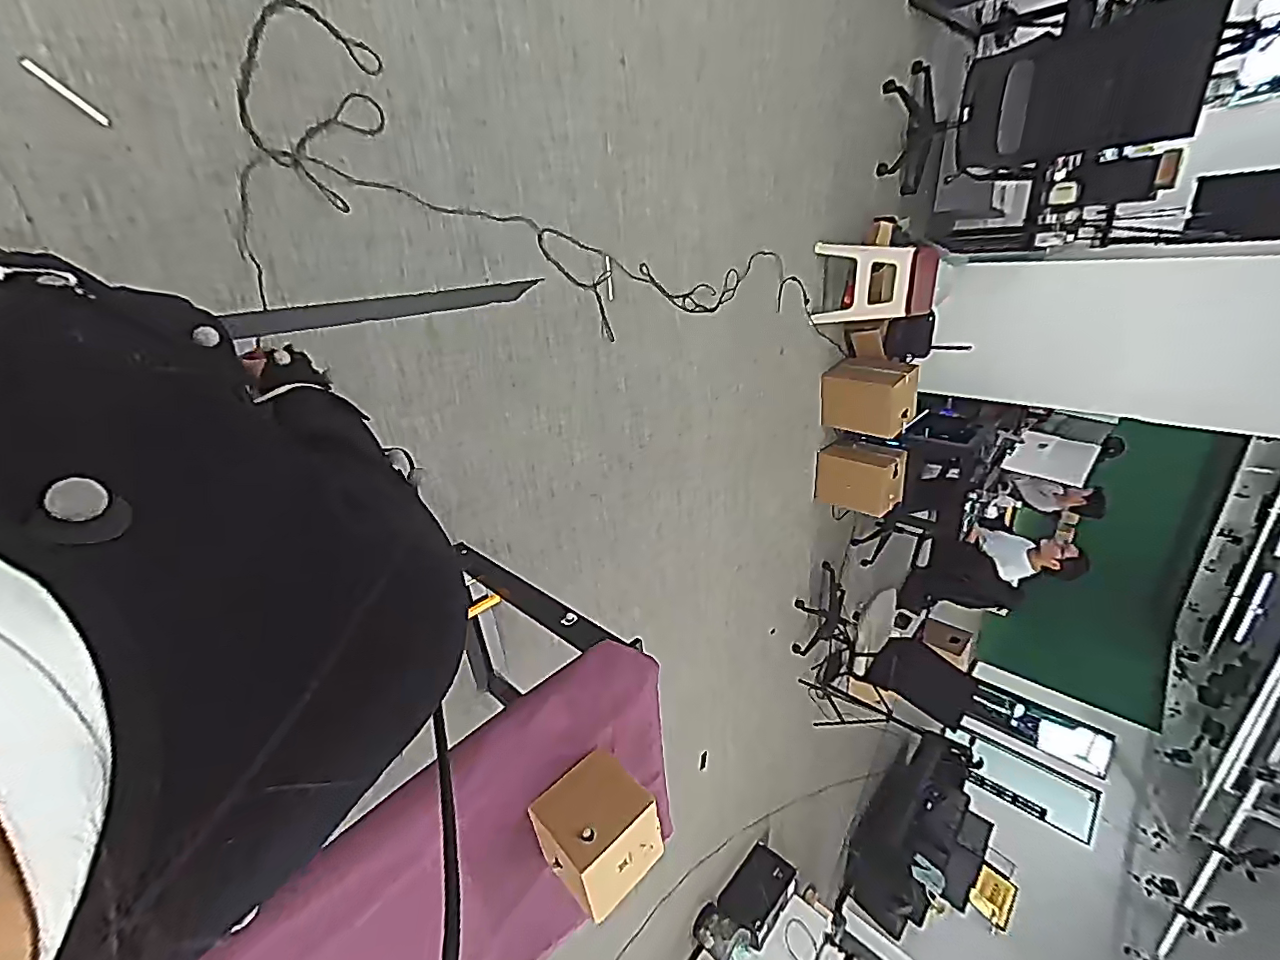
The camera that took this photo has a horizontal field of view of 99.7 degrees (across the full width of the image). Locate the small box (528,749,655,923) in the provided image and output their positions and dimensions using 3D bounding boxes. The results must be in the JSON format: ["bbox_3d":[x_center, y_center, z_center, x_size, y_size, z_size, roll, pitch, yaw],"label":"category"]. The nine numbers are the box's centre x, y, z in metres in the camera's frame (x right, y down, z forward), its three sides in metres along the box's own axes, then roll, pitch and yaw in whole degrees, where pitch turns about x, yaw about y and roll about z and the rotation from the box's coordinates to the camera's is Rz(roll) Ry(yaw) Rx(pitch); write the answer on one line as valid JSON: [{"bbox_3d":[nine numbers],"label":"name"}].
[{"bbox_3d":[-0.095,0.662,1.025,0.179,0.176,0.168,-28,123,-36],"label":"small box"}]
